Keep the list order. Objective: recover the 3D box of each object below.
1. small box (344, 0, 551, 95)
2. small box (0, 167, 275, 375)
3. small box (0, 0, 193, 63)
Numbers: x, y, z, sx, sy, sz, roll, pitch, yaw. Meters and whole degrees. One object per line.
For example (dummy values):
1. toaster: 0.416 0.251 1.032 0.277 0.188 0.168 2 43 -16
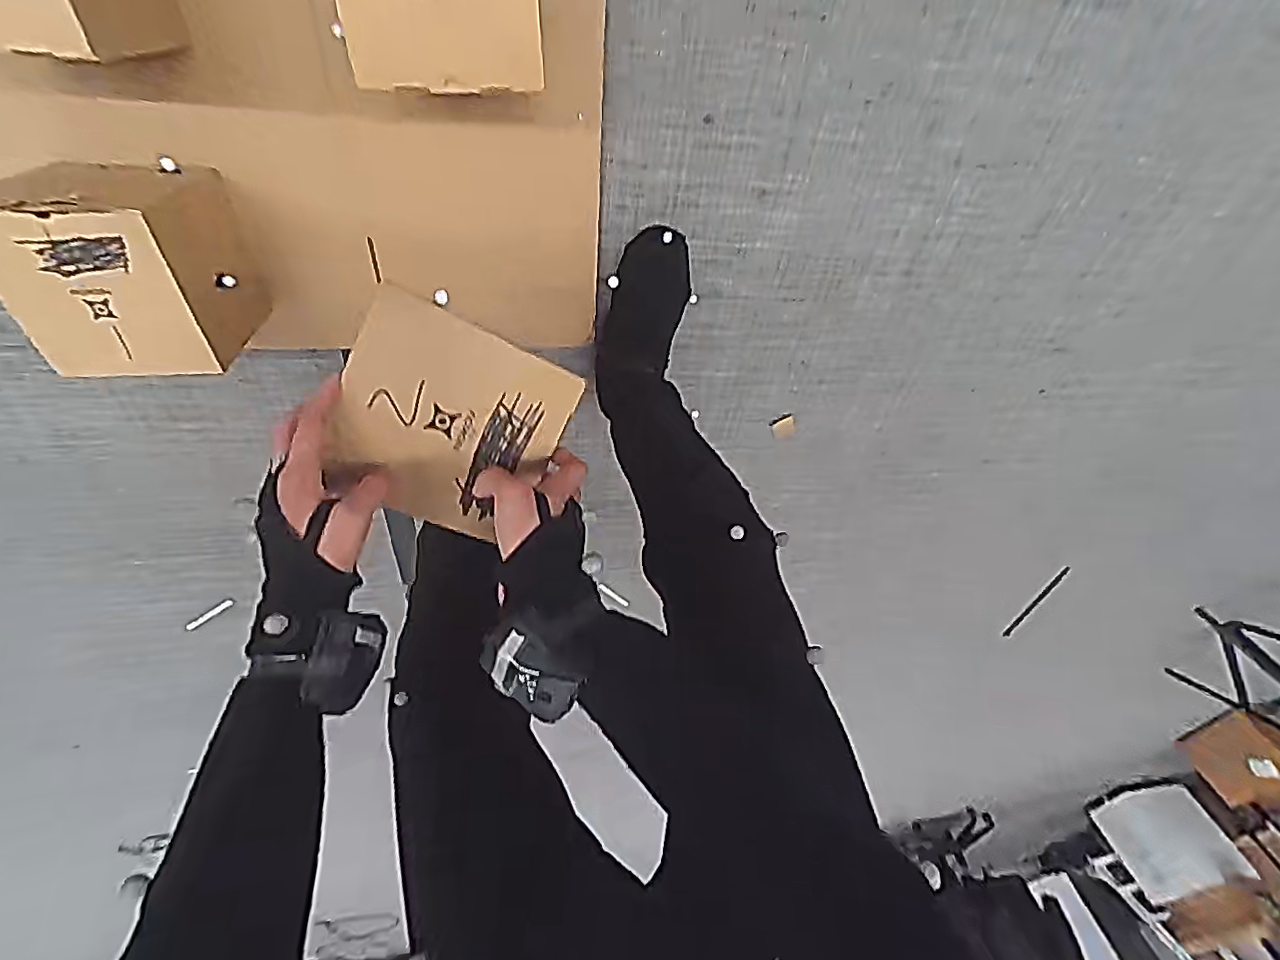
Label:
1. small box: -0.174 -0.468 0.493 0.168 0.176 0.179 -5 132 -8
2. small box: -0.554 -0.238 0.610 0.168 0.176 0.179 -3 133 -9
3. small box: -0.511 -0.451 0.425 0.168 0.176 0.179 -2 132 -9
